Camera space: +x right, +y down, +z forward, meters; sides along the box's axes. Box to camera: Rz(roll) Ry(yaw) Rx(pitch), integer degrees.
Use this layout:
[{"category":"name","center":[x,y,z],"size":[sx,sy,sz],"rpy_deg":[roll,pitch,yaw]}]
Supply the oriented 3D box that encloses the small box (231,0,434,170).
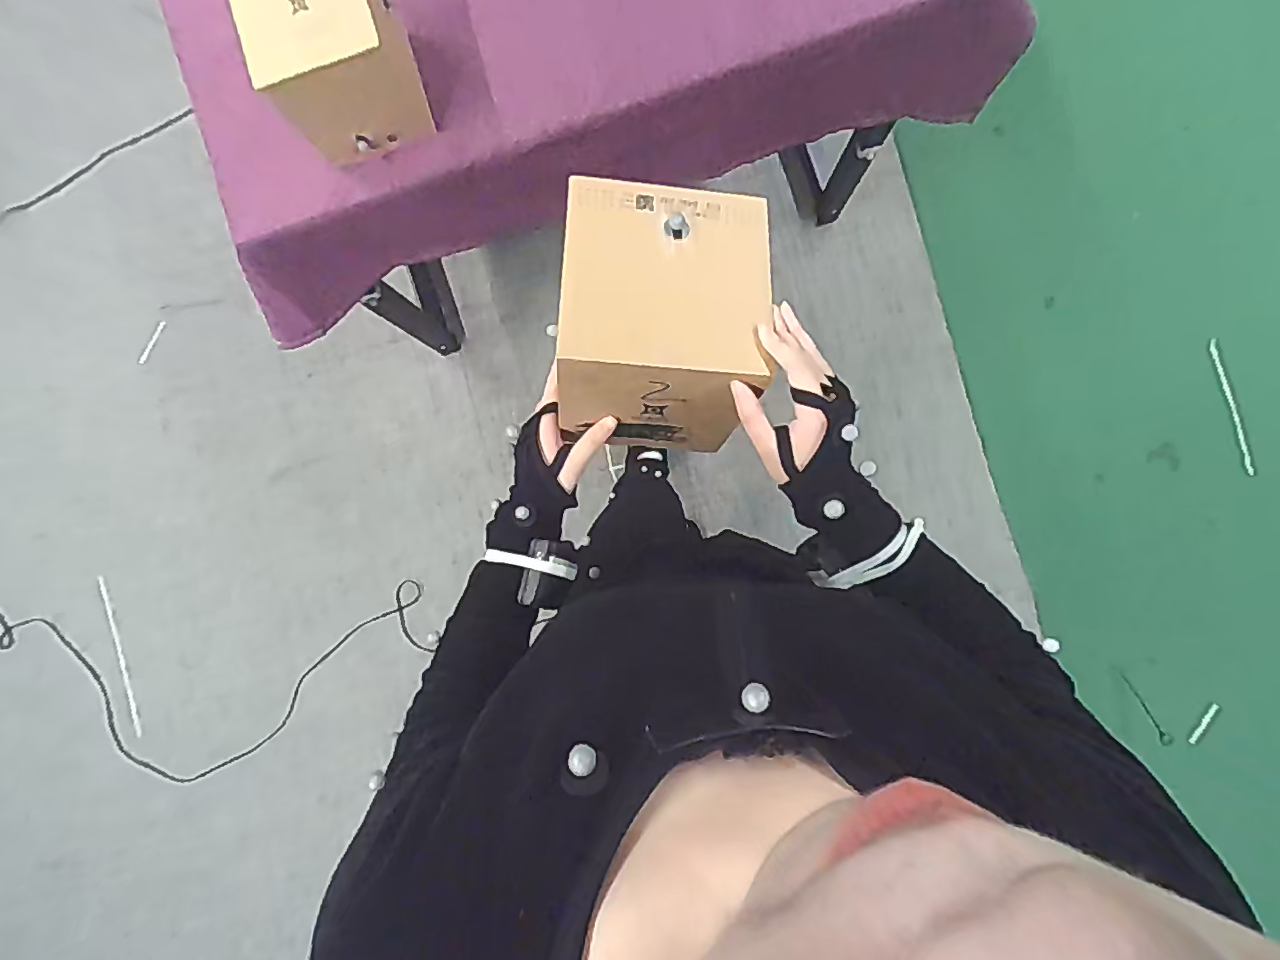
[{"category":"small box","center":[-0.411,-0.574,0.740],"size":[0.168,0.176,0.179],"rpy_deg":[-17,88,3]}]
